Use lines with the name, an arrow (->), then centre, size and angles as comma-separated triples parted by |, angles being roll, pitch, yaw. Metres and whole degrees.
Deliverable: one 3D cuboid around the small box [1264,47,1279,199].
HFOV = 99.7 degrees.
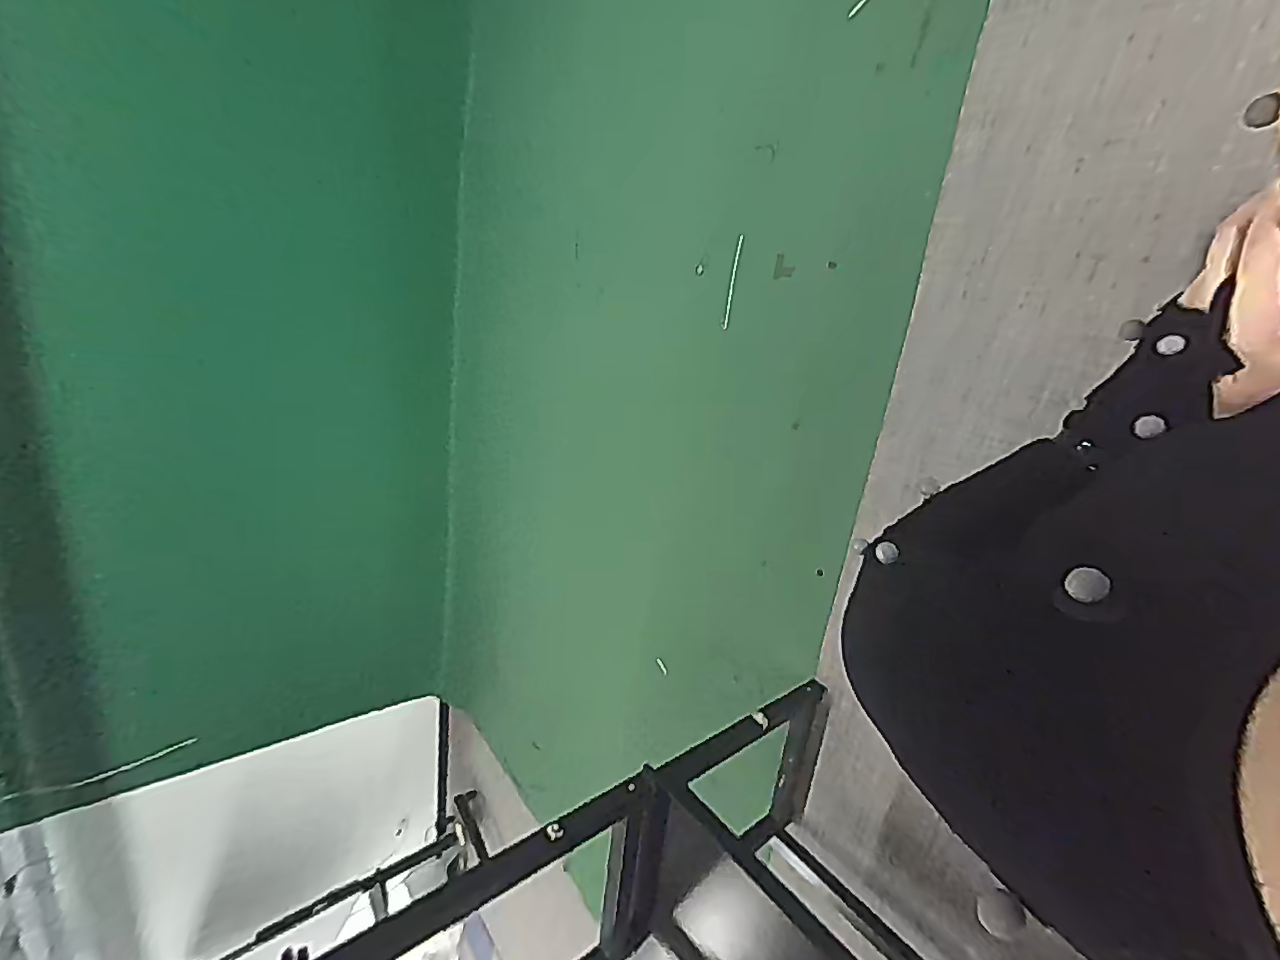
small box -> 0.424, -0.222, 0.239 | 0.168, 0.176, 0.179 | 11, 86, 53
